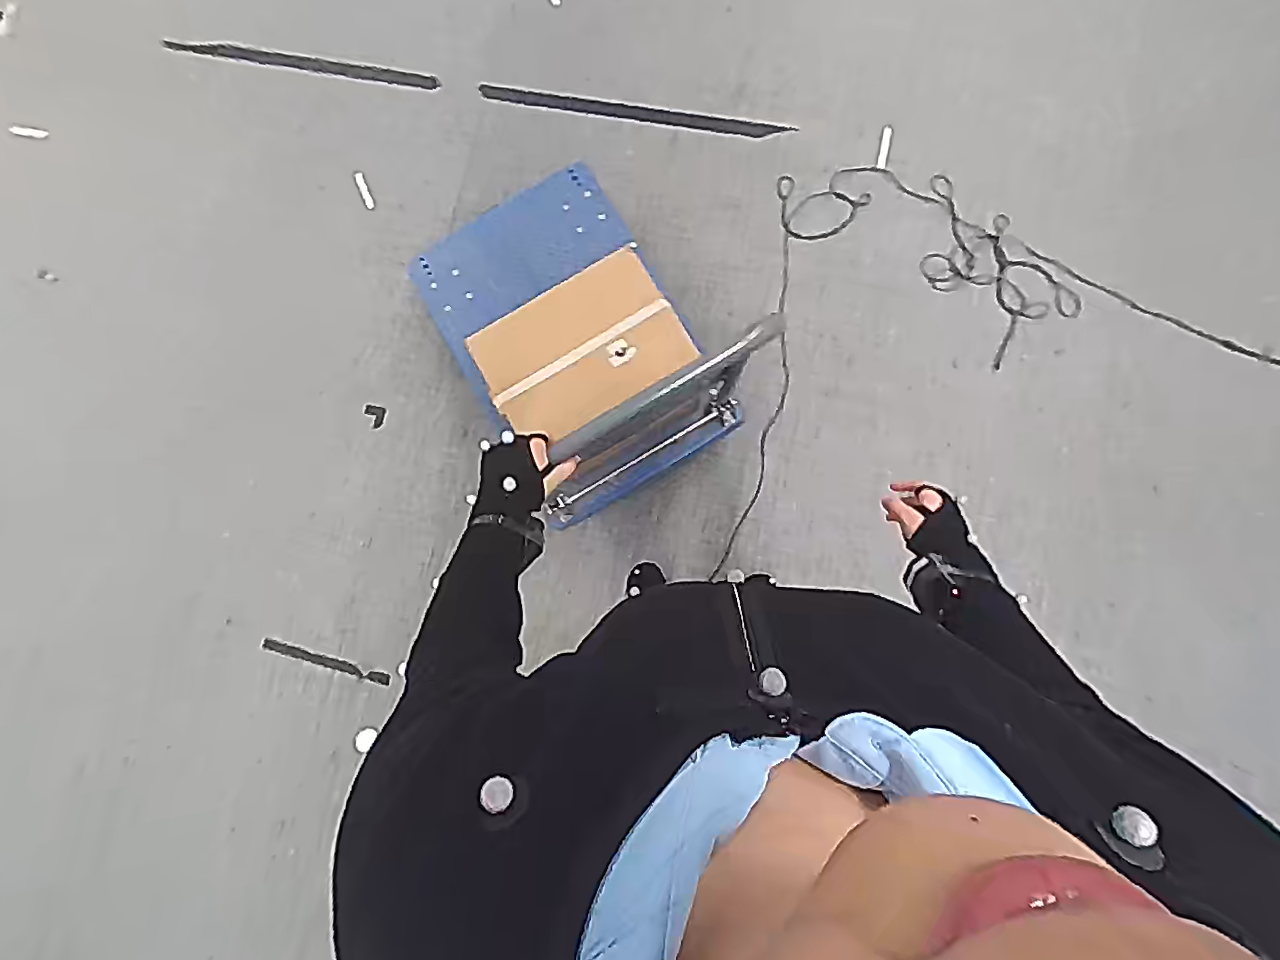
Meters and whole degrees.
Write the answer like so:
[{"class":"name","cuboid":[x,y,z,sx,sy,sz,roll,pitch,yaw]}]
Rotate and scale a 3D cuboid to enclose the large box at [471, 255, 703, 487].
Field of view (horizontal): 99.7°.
[{"class":"large box","cuboid":[-0.106,-0.228,1.265,0.408,0.320,0.320,-30,82,-1]}]
